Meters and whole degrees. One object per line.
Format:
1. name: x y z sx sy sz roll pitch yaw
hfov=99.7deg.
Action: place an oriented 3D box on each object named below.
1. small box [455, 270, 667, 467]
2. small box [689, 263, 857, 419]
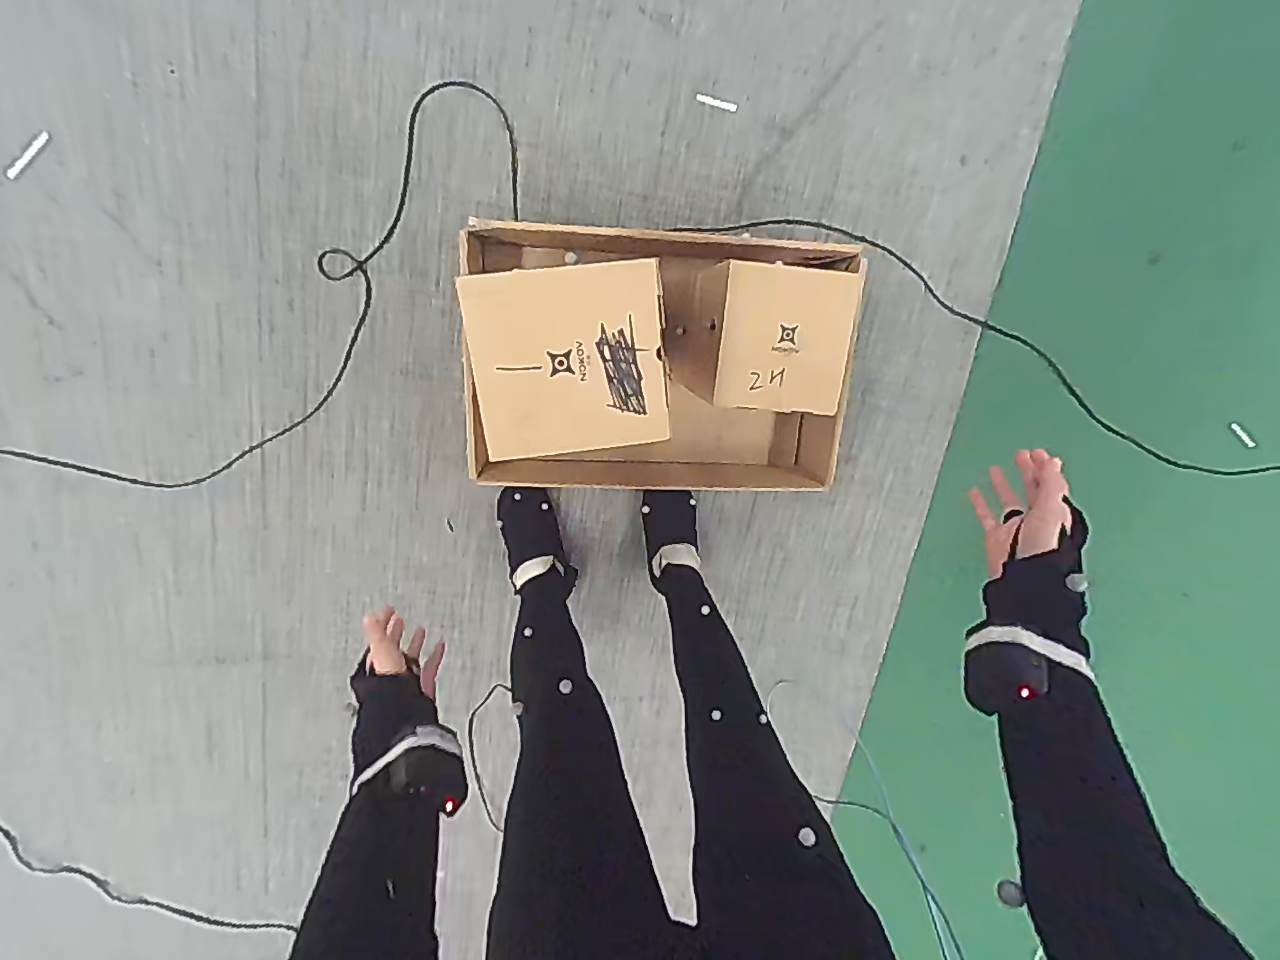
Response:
1. small box: -0.076 -0.123 0.565 0.179 0.176 0.168 -7 108 -4
2. small box: 0.167 -0.188 0.740 0.168 0.176 0.179 4 106 -6
